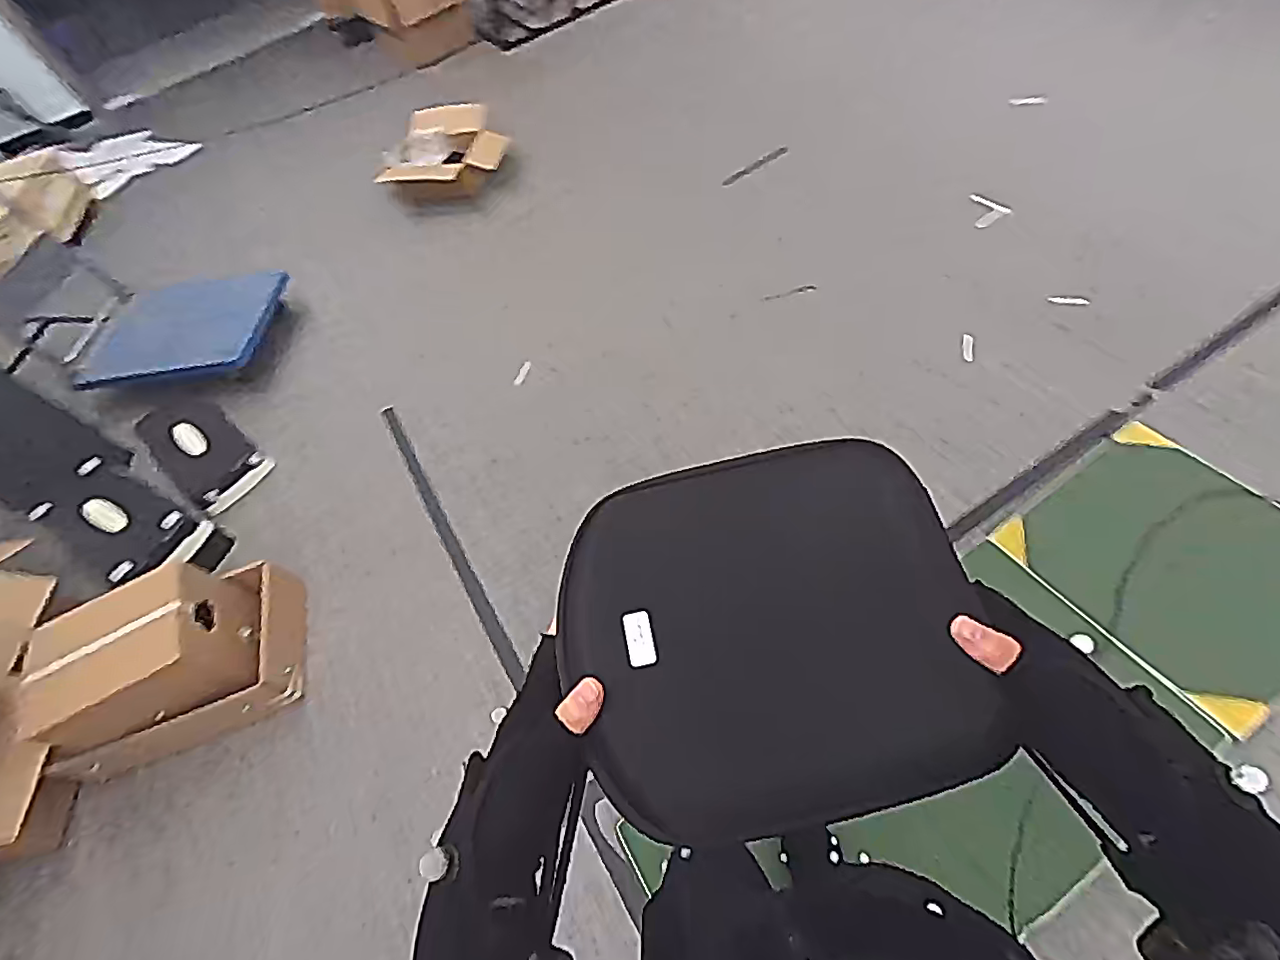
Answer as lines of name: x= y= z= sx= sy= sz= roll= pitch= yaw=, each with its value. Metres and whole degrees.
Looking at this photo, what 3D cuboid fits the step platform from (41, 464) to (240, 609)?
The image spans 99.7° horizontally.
step platform: x=-1.765 y=0.185 z=1.907 sx=0.684 sy=0.204 sz=0.286 roll=20 pitch=65 yaw=21
